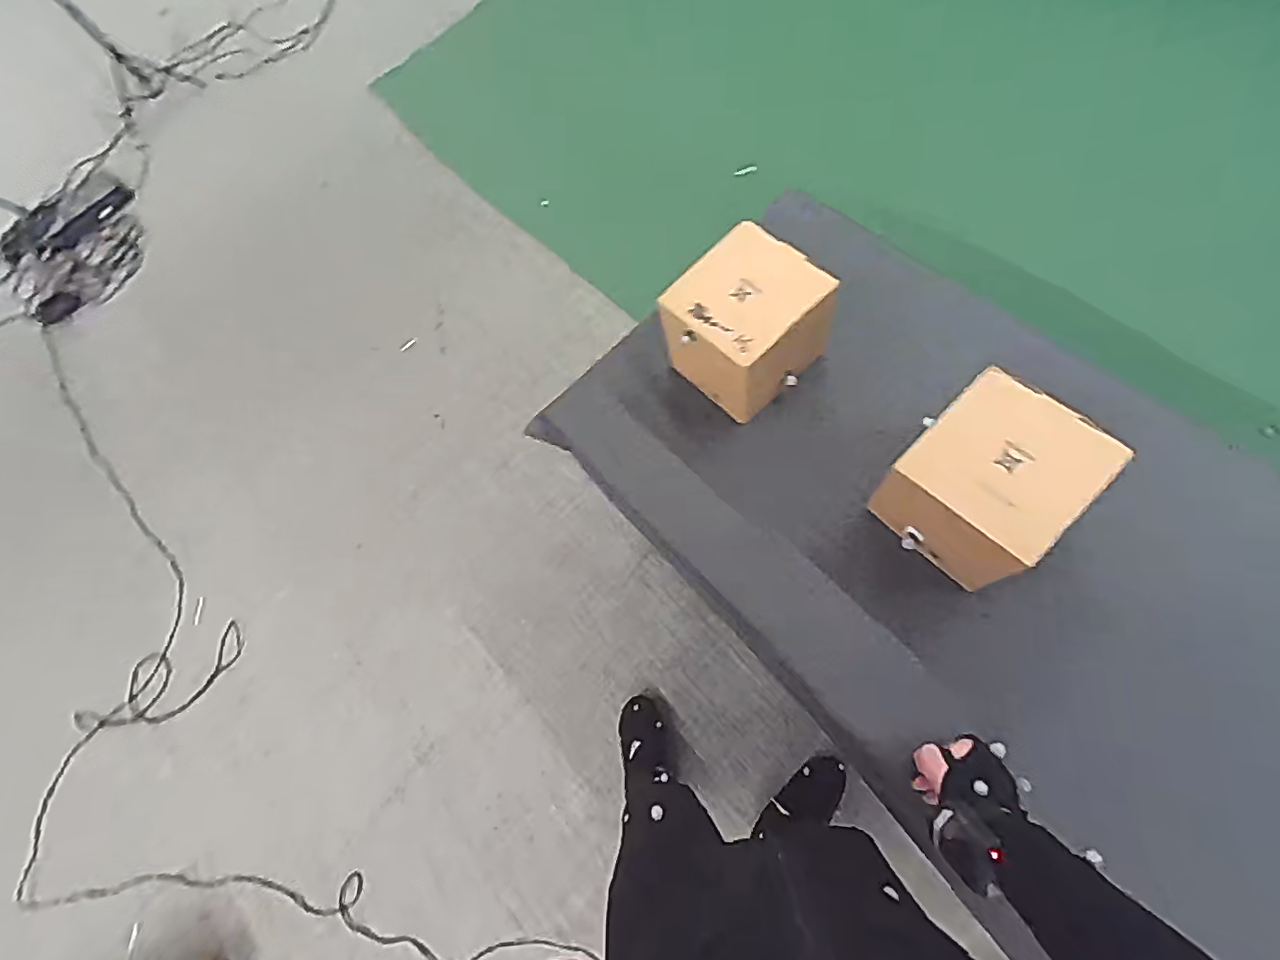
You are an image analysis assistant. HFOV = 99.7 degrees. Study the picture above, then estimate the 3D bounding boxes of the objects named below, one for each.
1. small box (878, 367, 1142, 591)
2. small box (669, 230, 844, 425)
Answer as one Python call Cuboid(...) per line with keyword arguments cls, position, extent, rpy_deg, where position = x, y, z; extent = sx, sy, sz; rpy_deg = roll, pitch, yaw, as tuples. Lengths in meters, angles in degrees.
Cuboid(cls="small box", position=(0.414, 0.008, 0.645), extent=(0.179, 0.176, 0.168), rpy_deg=(-44, 67, -6))
Cuboid(cls="small box", position=(0.164, -0.217, 0.796), extent=(0.179, 0.176, 0.168), rpy_deg=(-41, 68, -7))
